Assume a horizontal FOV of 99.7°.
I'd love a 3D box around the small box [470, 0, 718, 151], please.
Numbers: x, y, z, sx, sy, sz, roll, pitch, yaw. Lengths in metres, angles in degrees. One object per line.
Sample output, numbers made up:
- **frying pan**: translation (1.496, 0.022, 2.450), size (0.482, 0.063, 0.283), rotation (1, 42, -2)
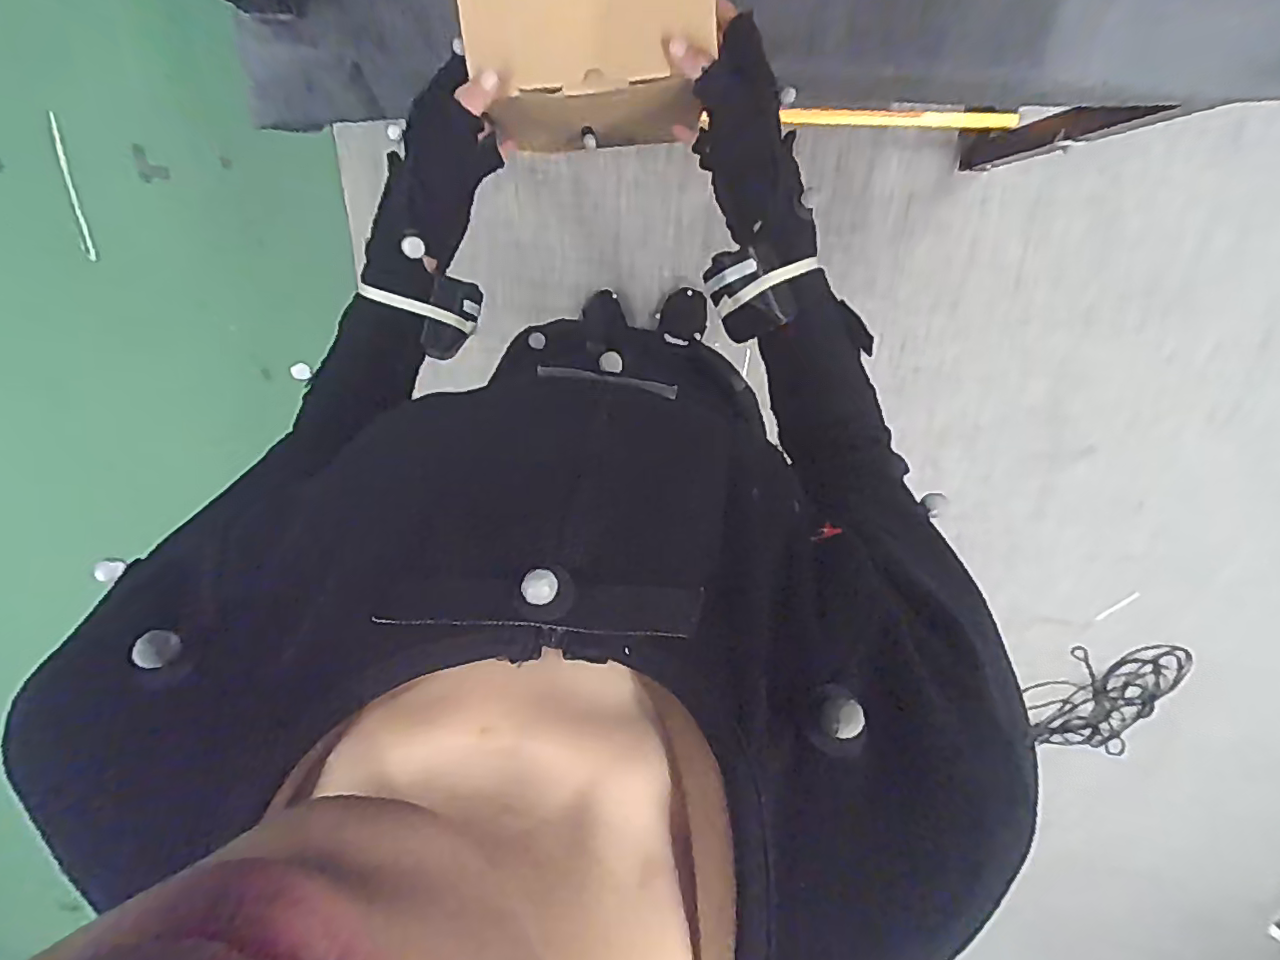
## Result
- **small box**: translation (-0.034, -0.379, 0.419), size (0.168, 0.176, 0.179), rotation (-4, 110, 1)
